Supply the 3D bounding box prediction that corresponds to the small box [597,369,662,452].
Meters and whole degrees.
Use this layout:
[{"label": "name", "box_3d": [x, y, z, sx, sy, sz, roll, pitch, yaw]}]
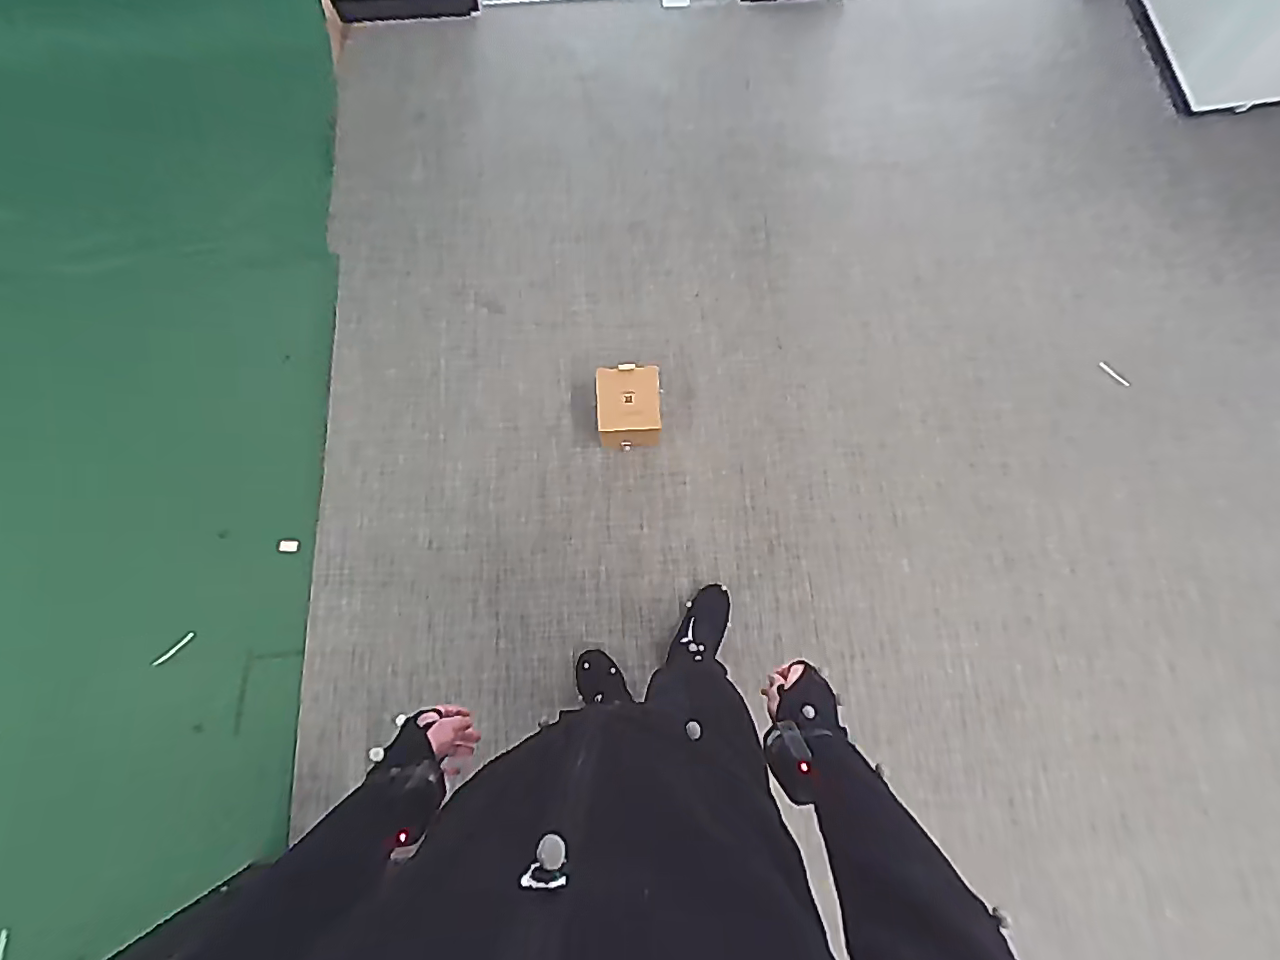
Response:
[{"label": "small box", "box_3d": [-0.026, -0.184, 1.457, 0.168, 0.176, 0.179, -1, 77, 2]}]
